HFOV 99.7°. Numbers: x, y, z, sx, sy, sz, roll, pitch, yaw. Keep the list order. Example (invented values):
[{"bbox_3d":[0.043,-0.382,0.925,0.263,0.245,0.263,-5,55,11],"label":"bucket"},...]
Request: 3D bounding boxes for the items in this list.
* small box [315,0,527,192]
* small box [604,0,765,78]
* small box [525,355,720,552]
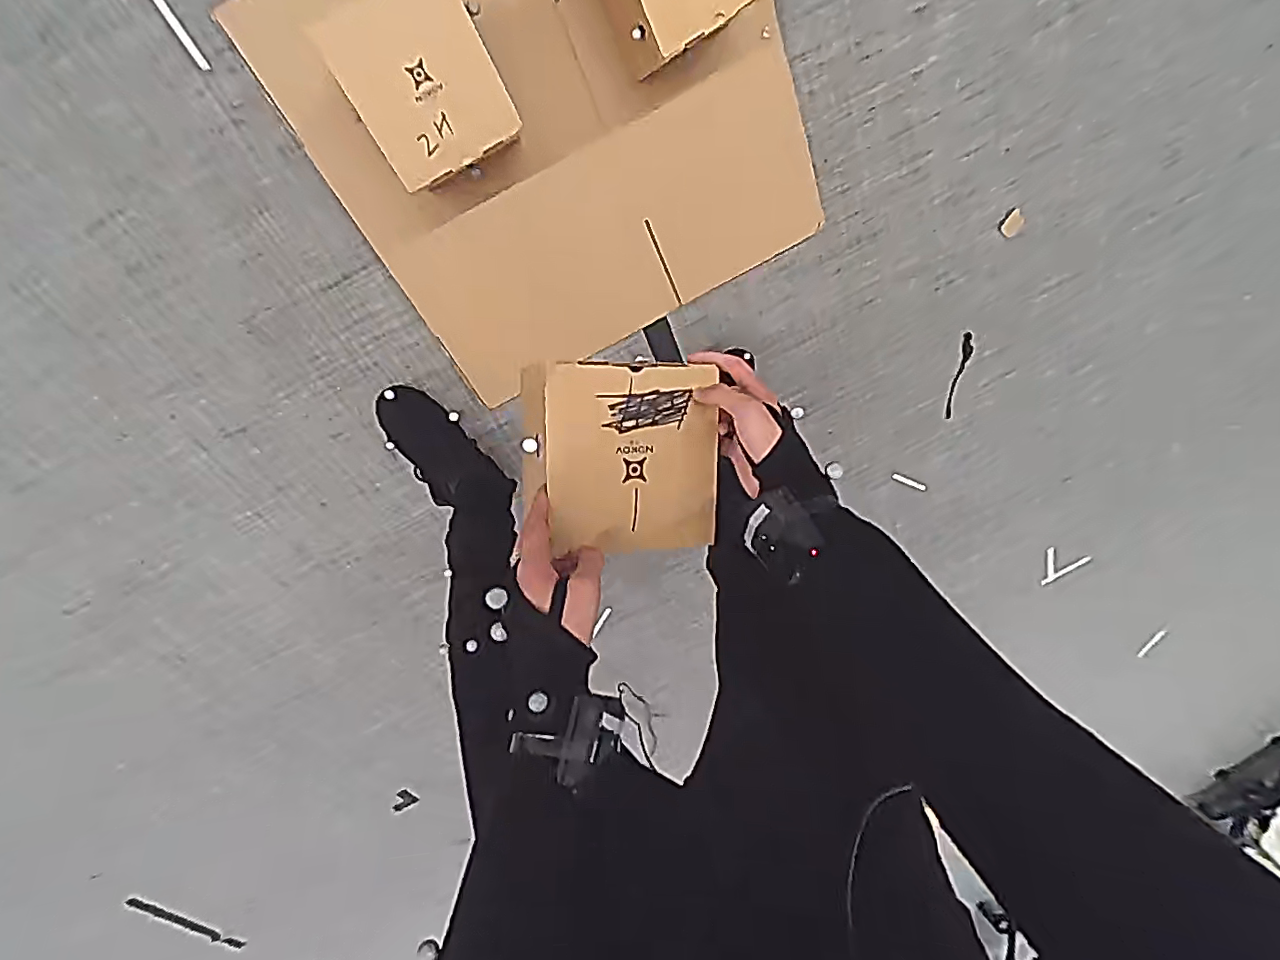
[{"bbox_3d":[-0.262,-0.491,0.687,0.168,0.176,0.179,-28,122,3],"label":"small box"},{"bbox_3d":[0.042,-0.655,0.685,0.168,0.176,0.179,-31,122,4],"label":"small box"},{"bbox_3d":[-0.029,-0.035,0.572,0.168,0.176,0.179,-2,100,-18],"label":"small box"}]
